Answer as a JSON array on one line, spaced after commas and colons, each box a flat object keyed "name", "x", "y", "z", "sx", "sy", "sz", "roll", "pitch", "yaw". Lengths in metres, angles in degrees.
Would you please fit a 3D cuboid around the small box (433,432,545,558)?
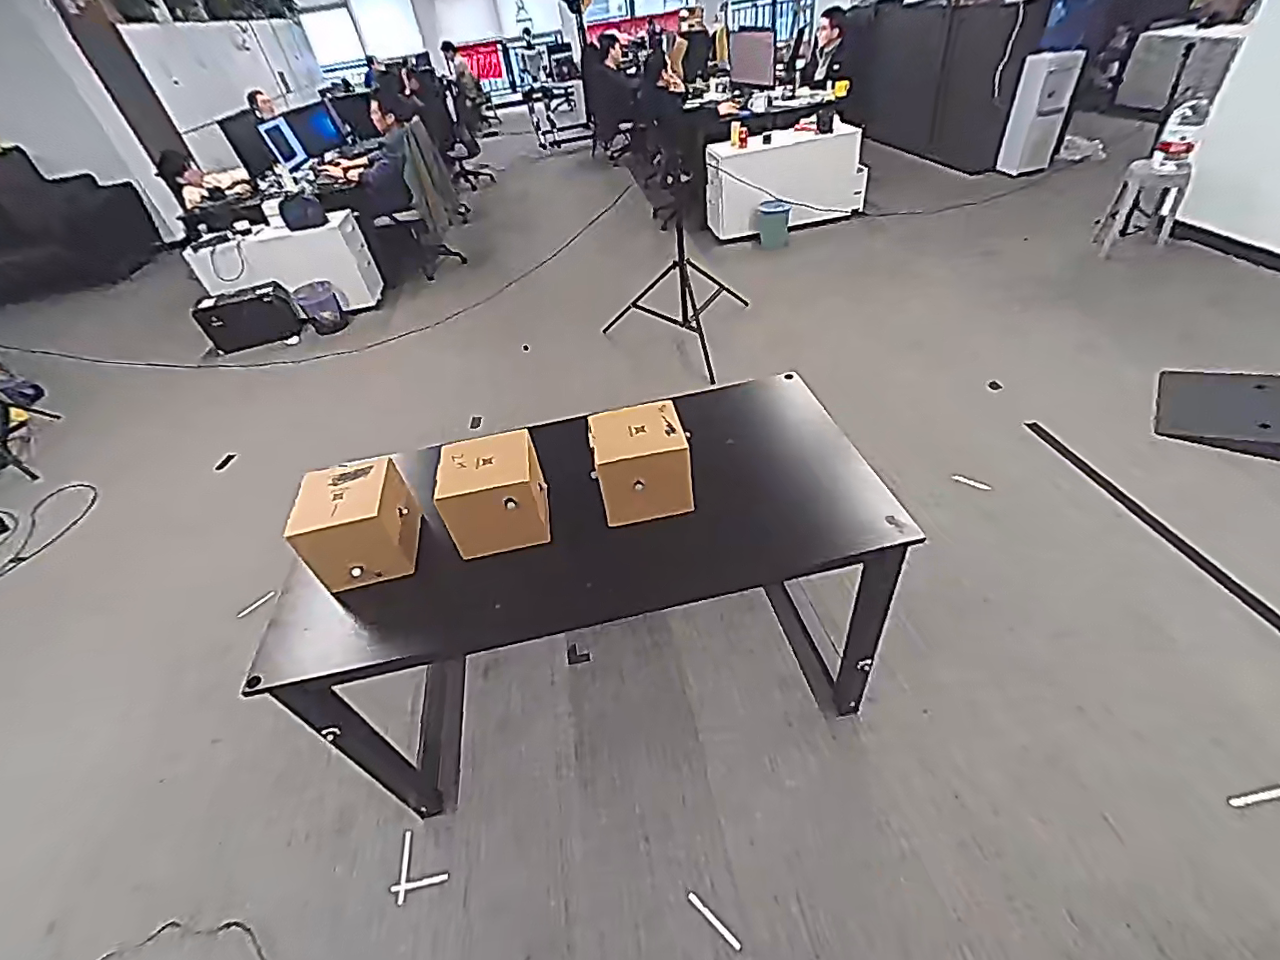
[{"name": "small box", "x": -0.290, "y": 0.031, "z": 1.078, "sx": 0.179, "sy": 0.176, "sz": 0.168, "roll": -12, "pitch": 41, "yaw": -4}]

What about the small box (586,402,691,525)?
[{"name": "small box", "x": -0.003, "y": -0.030, "z": 1.096, "sx": 0.179, "sy": 0.176, "sz": 0.168, "roll": -12, "pitch": 42, "yaw": -1}]

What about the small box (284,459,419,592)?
[{"name": "small box", "x": -0.550, "y": 0.089, "z": 1.062, "sx": 0.168, "sy": 0.176, "sz": 0.179, "roll": -14, "pitch": 43, "yaw": -5}]
